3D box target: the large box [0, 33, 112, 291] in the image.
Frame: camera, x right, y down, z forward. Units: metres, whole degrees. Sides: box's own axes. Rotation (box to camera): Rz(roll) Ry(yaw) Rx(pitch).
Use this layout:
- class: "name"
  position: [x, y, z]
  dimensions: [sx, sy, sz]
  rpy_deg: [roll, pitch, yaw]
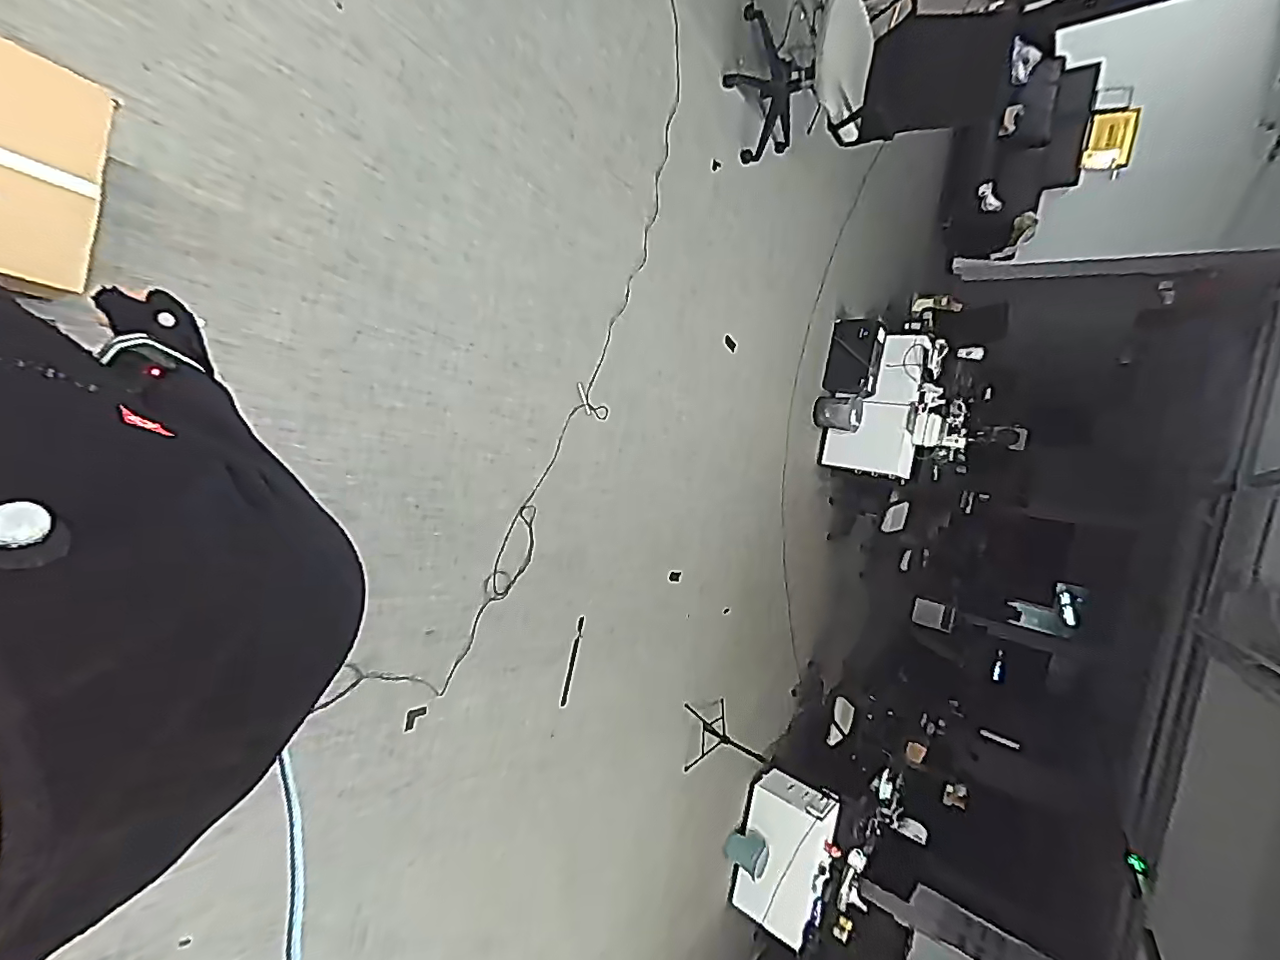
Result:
- class: "large box"
  position: [-1.071, -0.492, 0.761]
  dimensions: [0.408, 0.320, 0.320]
  rpy_deg: [9, 93, -54]
